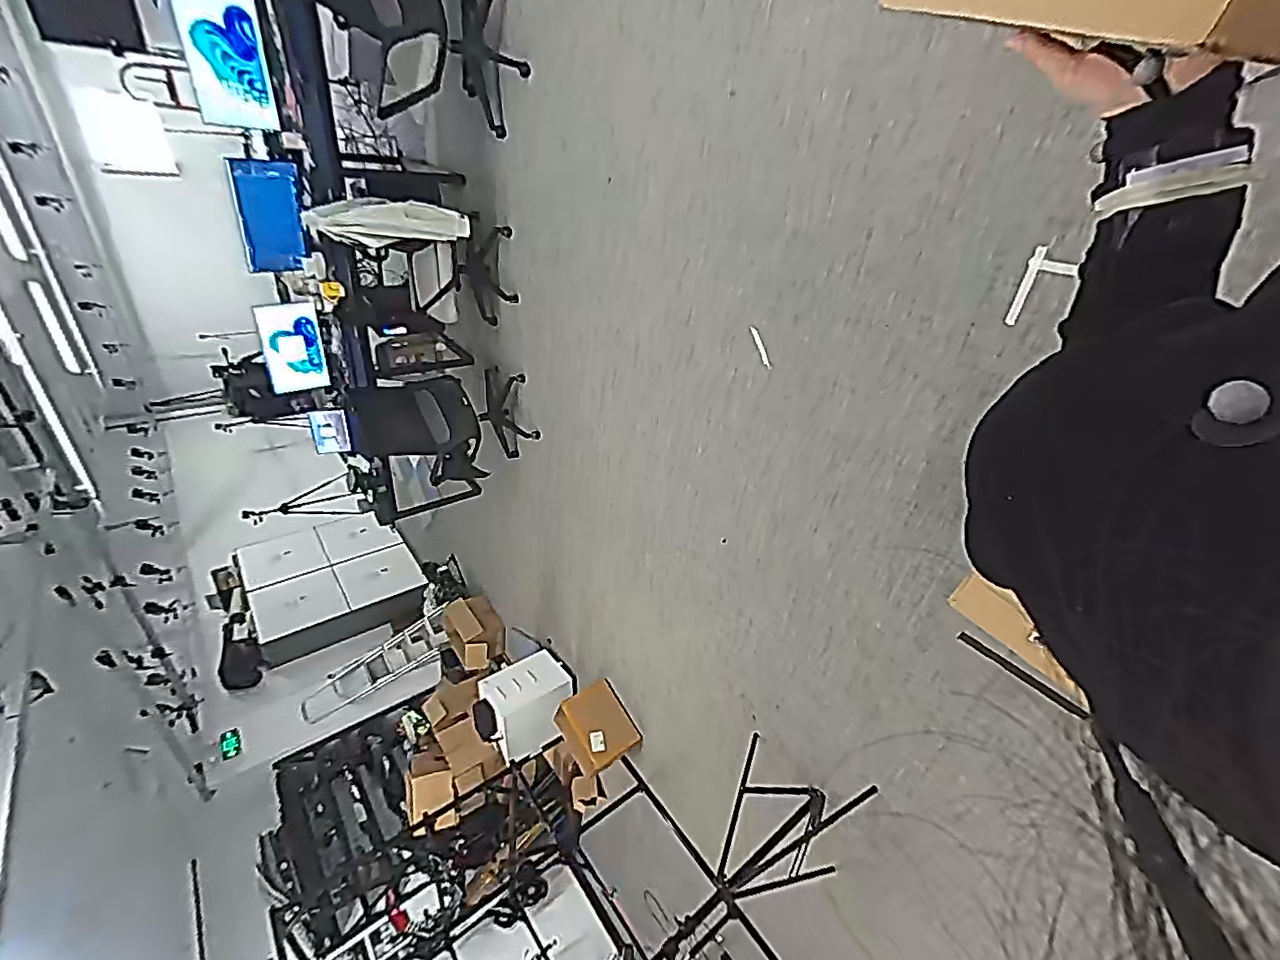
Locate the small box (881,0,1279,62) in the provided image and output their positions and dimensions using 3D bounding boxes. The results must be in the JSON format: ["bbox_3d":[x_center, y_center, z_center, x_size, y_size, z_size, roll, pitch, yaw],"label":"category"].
[{"bbox_3d":[0.266,-0.316,0.259,0.179,0.176,0.168,50,146,36],"label":"small box"}]
